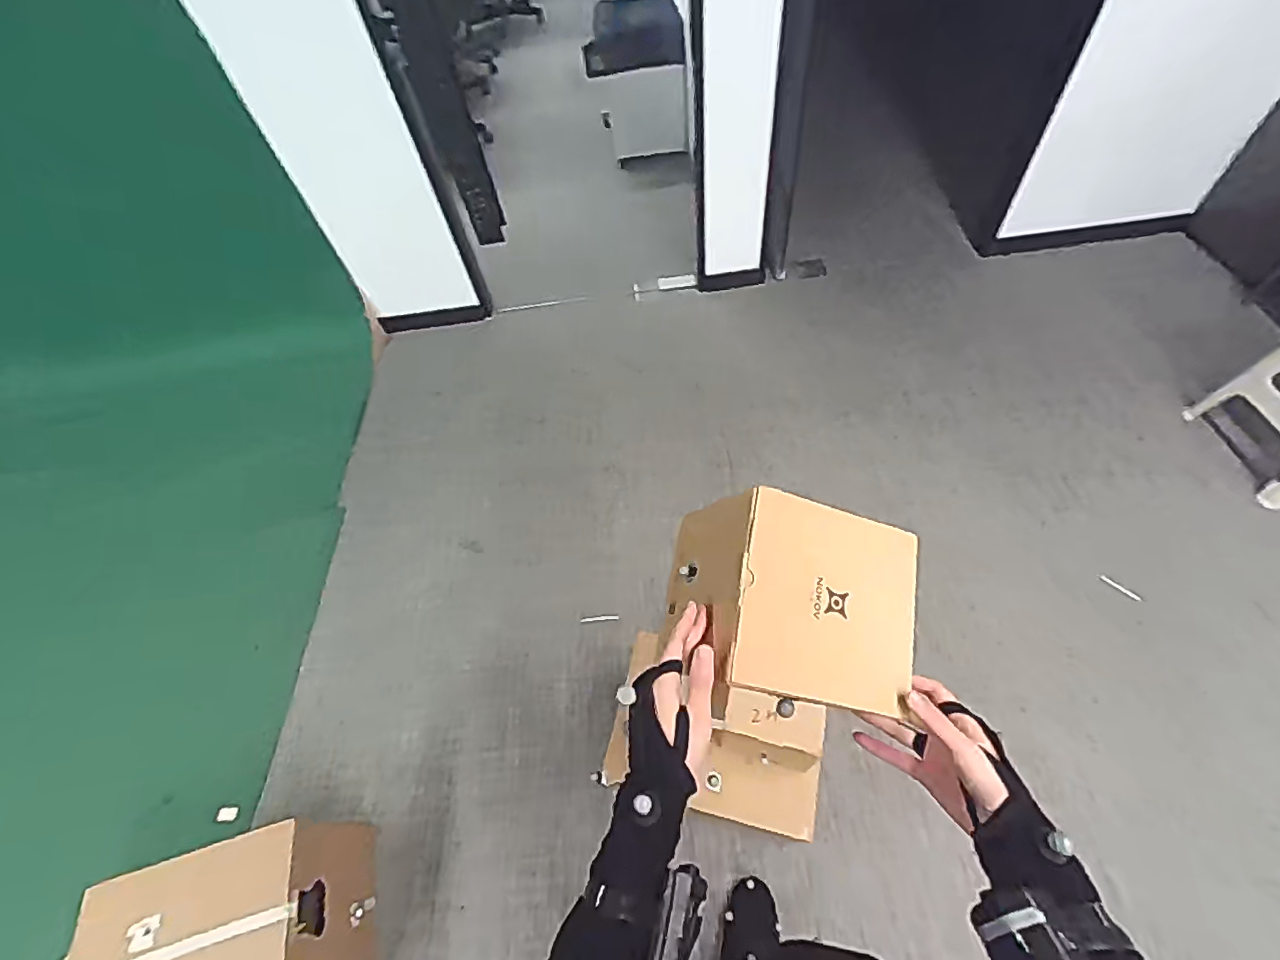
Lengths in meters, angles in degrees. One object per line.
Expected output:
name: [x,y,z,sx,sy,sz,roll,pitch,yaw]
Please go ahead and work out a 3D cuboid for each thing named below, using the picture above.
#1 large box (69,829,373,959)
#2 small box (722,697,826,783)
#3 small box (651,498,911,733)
large box: [-0.802,0.941,1.073,0.408,0.320,0.320,-17,53,-4]
small box: [0.248,0.437,1.006,0.168,0.176,0.179,10,54,14]
small box: [0.131,0.132,0.531,0.179,0.176,0.168,17,71,-14]
